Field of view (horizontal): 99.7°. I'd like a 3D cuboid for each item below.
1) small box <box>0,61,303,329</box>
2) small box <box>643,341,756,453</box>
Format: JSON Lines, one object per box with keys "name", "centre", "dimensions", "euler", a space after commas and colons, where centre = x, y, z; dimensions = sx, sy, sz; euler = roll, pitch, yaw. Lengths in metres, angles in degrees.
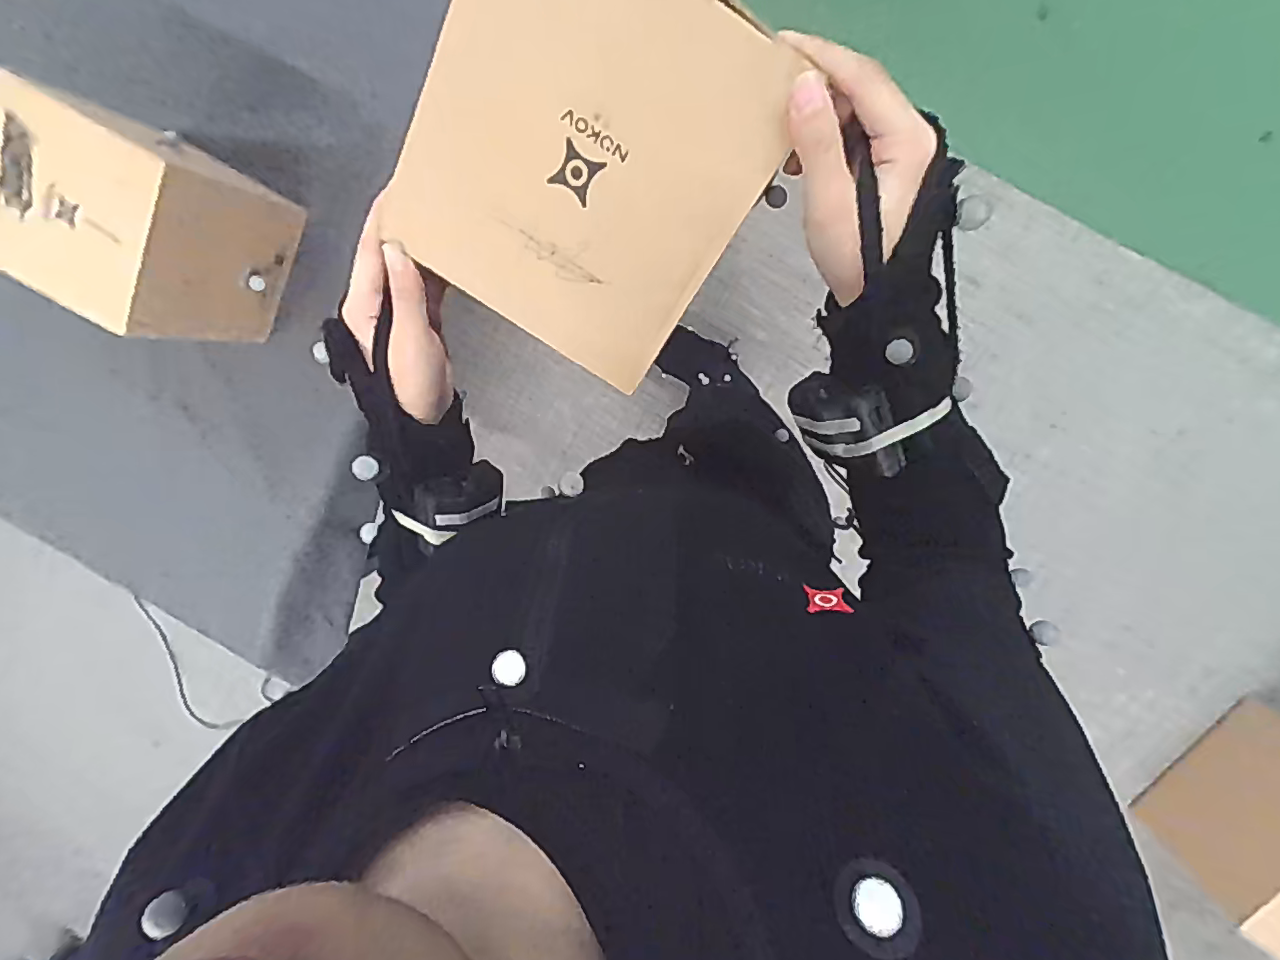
{"name": "small box", "centre": [-0.502, -0.267, 0.557], "dimensions": [0.179, 0.176, 0.168], "euler": [29, 105, 0]}
{"name": "small box", "centre": [0.132, -0.198, 1.284], "dimensions": [0.168, 0.176, 0.179], "euler": [27, 102, -43]}
